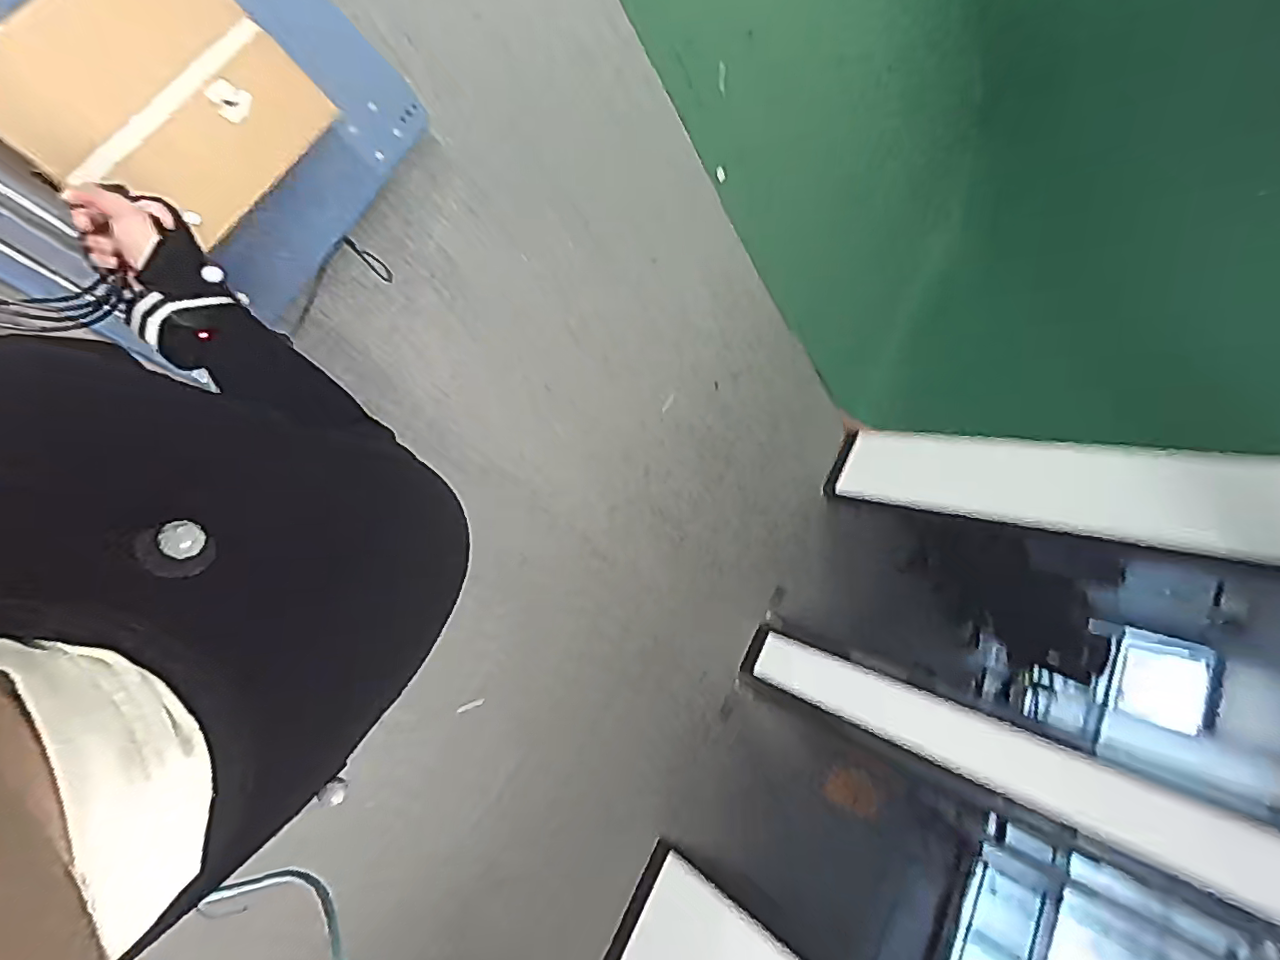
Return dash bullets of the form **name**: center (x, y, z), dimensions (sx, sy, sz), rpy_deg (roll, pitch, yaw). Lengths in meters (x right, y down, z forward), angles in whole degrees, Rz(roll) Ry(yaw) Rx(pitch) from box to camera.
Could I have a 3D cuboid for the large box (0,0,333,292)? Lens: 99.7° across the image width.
- **large box**: center (-0.836, -0.603, 0.947), dimensions (0.320, 0.320, 0.408), rpy_deg (43, 68, -40)
